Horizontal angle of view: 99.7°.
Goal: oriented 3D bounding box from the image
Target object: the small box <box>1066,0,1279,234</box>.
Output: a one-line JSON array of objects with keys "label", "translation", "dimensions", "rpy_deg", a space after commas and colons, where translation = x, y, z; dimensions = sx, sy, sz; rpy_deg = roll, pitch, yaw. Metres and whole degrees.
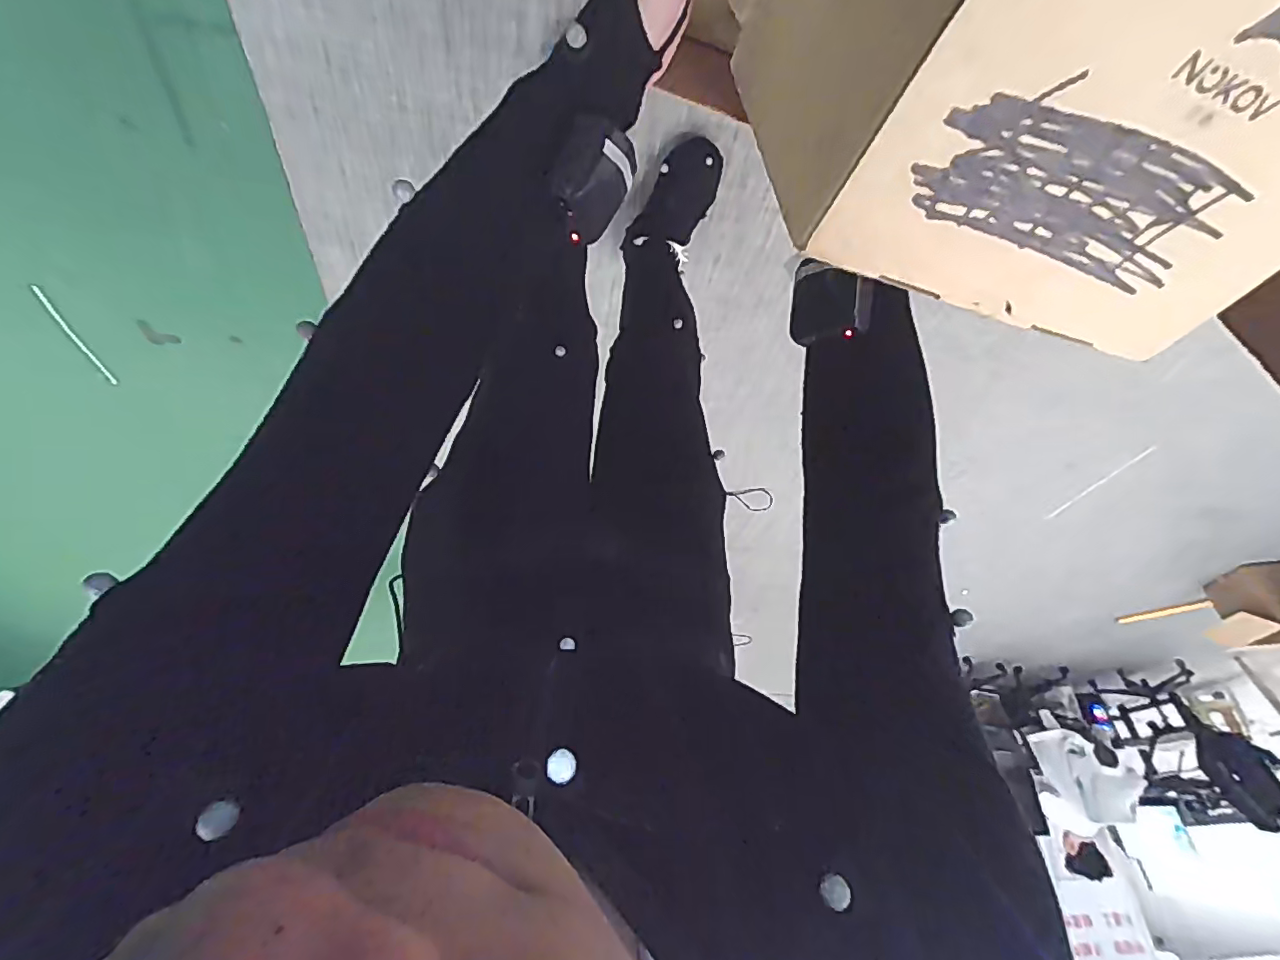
[{"label": "small box", "translation": [0.440, -0.271, 0.349], "dimensions": [0.168, 0.176, 0.179], "rpy_deg": [9, 146, -13]}]

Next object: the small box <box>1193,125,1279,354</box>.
[{"label": "small box", "translation": [0.440, -0.132, 0.262], "dimensions": [0.168, 0.176, 0.179], "rpy_deg": [9, 144, -13]}]

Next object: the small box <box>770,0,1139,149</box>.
[{"label": "small box", "translation": [0.159, -0.314, 0.261], "dimensions": [0.168, 0.176, 0.179], "rpy_deg": [10, 143, -19]}]
